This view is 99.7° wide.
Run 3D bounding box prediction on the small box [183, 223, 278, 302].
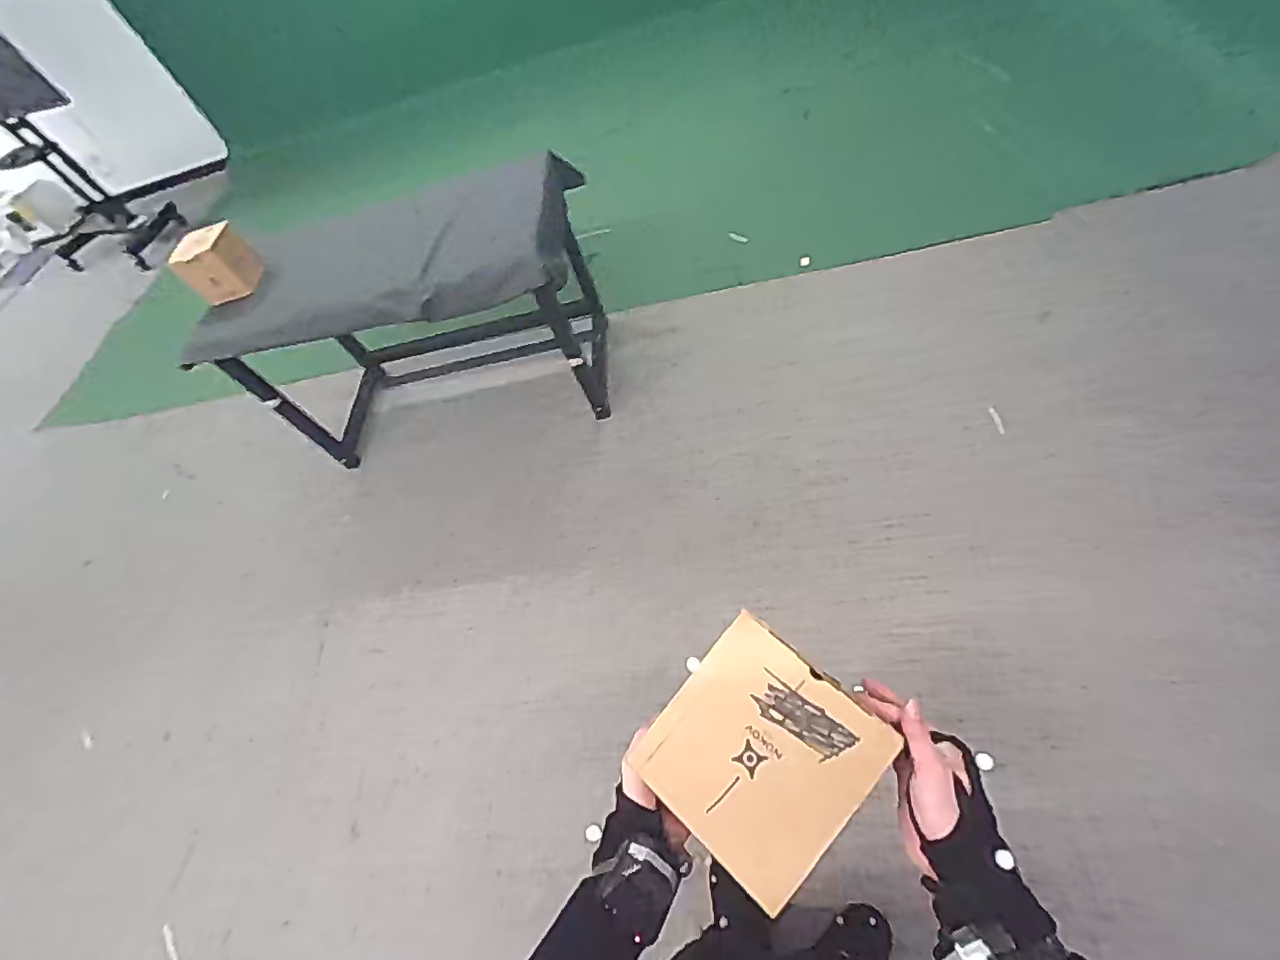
[{"bbox_3d":[-1.369,-0.723,1.824,0.168,0.176,0.179,-13,55,9],"label":"small box"}]
